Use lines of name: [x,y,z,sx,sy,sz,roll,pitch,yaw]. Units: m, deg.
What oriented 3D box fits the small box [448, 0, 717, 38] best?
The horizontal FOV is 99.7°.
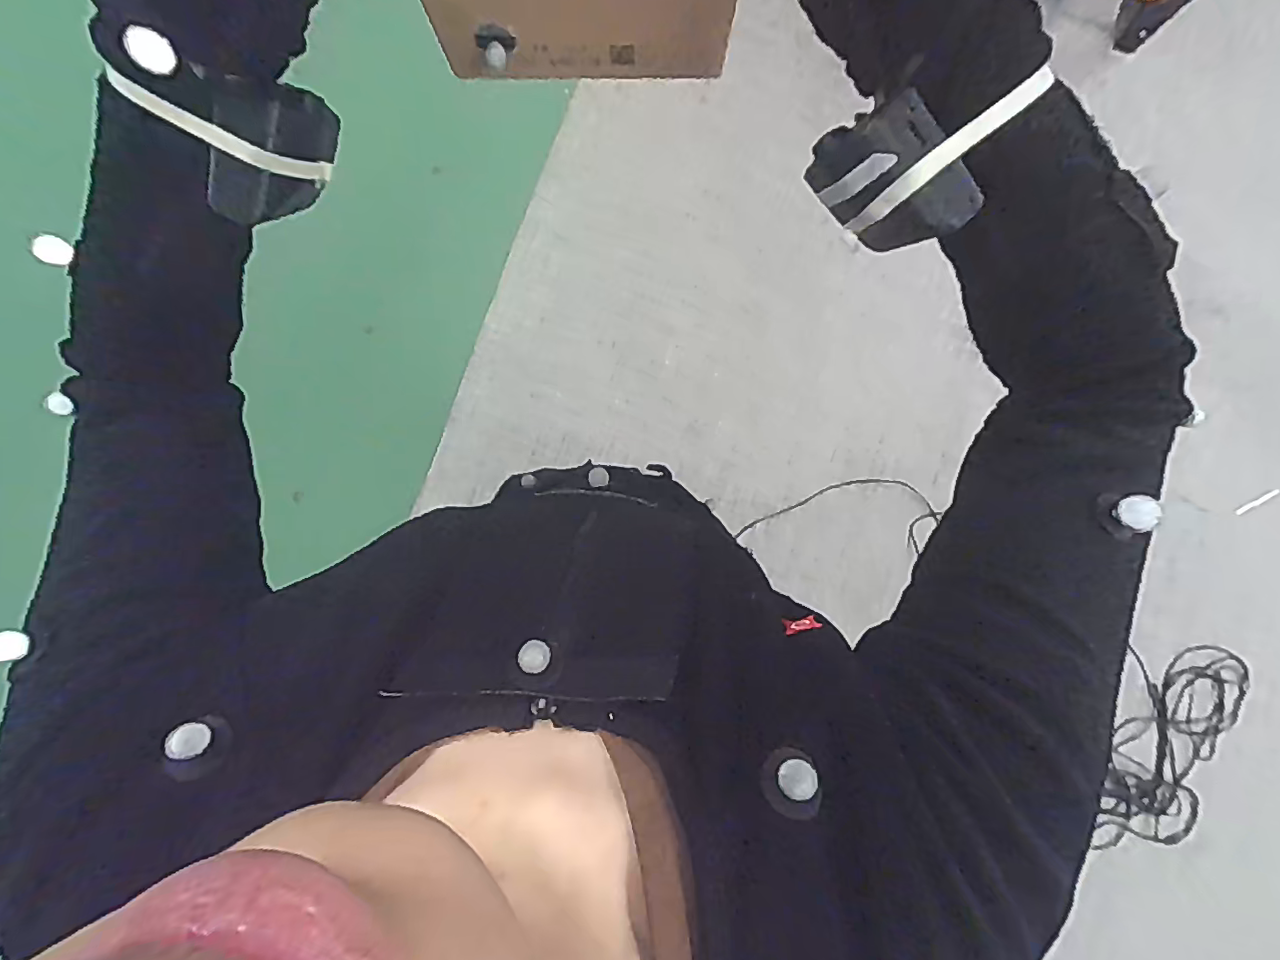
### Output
small box: [-0.036,-0.350,0.247,0.168,0.176,0.179,0,88,0]
